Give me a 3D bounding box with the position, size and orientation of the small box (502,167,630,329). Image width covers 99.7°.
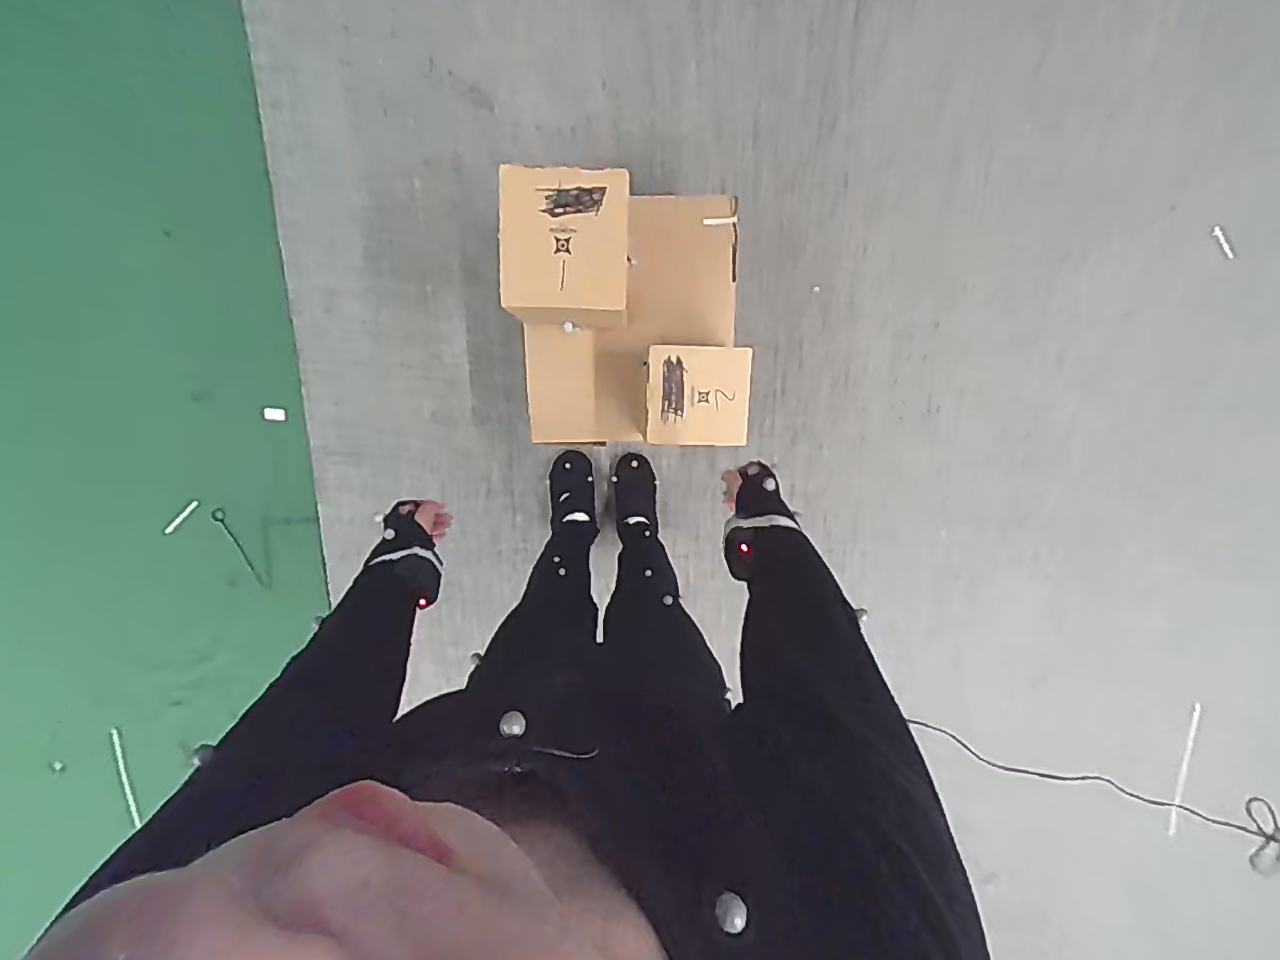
[{"bbox_3d":[-0.099,-0.321,0.777,0.168,0.176,0.179,1,99,-2],"label":"small box"}]
